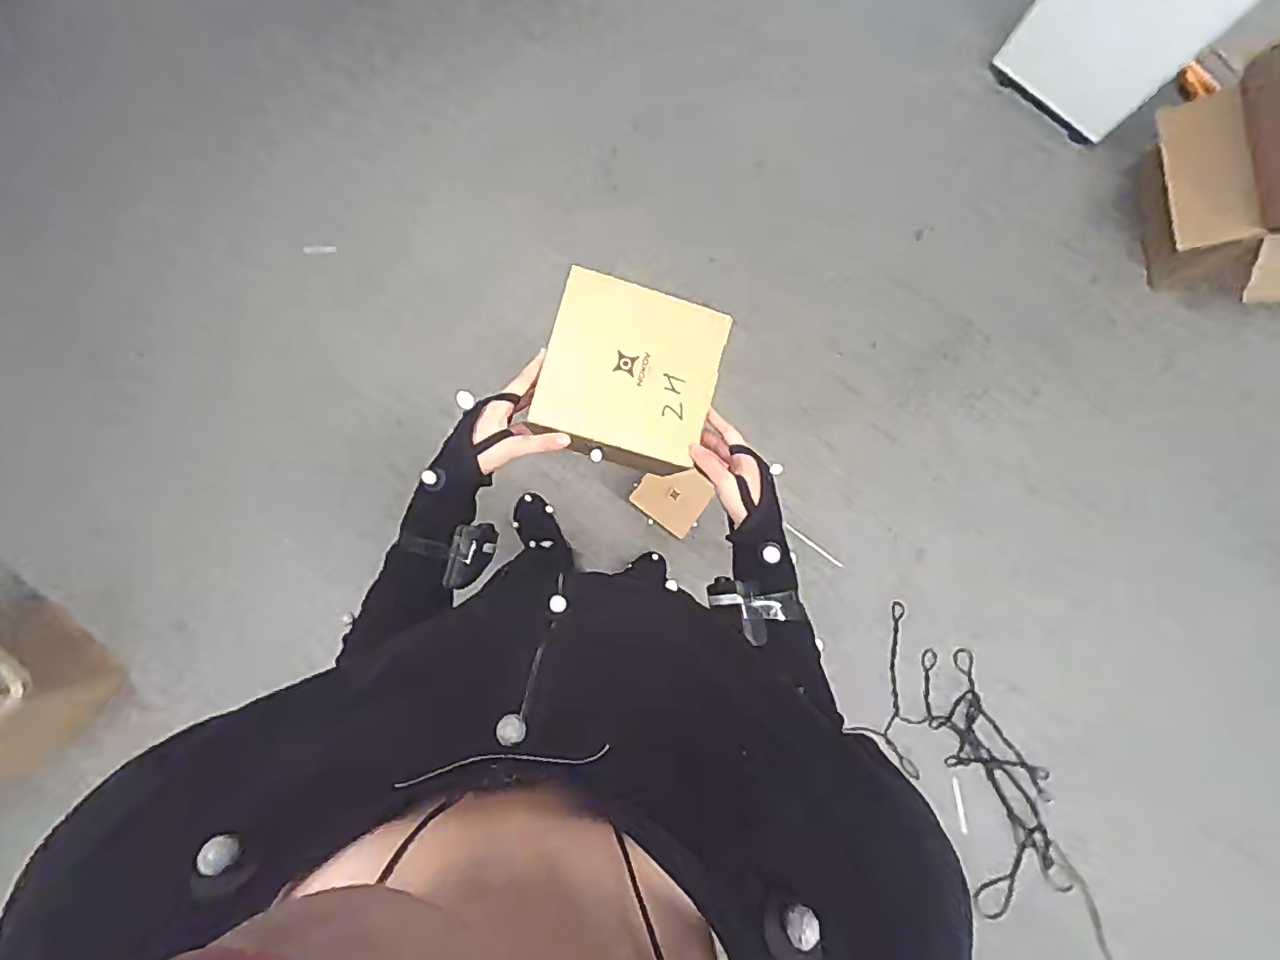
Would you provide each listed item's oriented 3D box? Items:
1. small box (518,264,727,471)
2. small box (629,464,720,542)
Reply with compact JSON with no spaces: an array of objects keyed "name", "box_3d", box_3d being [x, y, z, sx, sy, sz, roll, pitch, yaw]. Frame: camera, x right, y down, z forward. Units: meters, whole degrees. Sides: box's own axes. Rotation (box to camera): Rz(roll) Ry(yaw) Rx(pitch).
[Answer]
[{"name":"small box","box_3d":[-0.025,-0.110,0.616,0.179,0.176,0.168,16,86,-7]},{"name":"small box","box_3d":[0.088,0.056,1.453,0.179,0.176,0.168,38,85,5]}]
